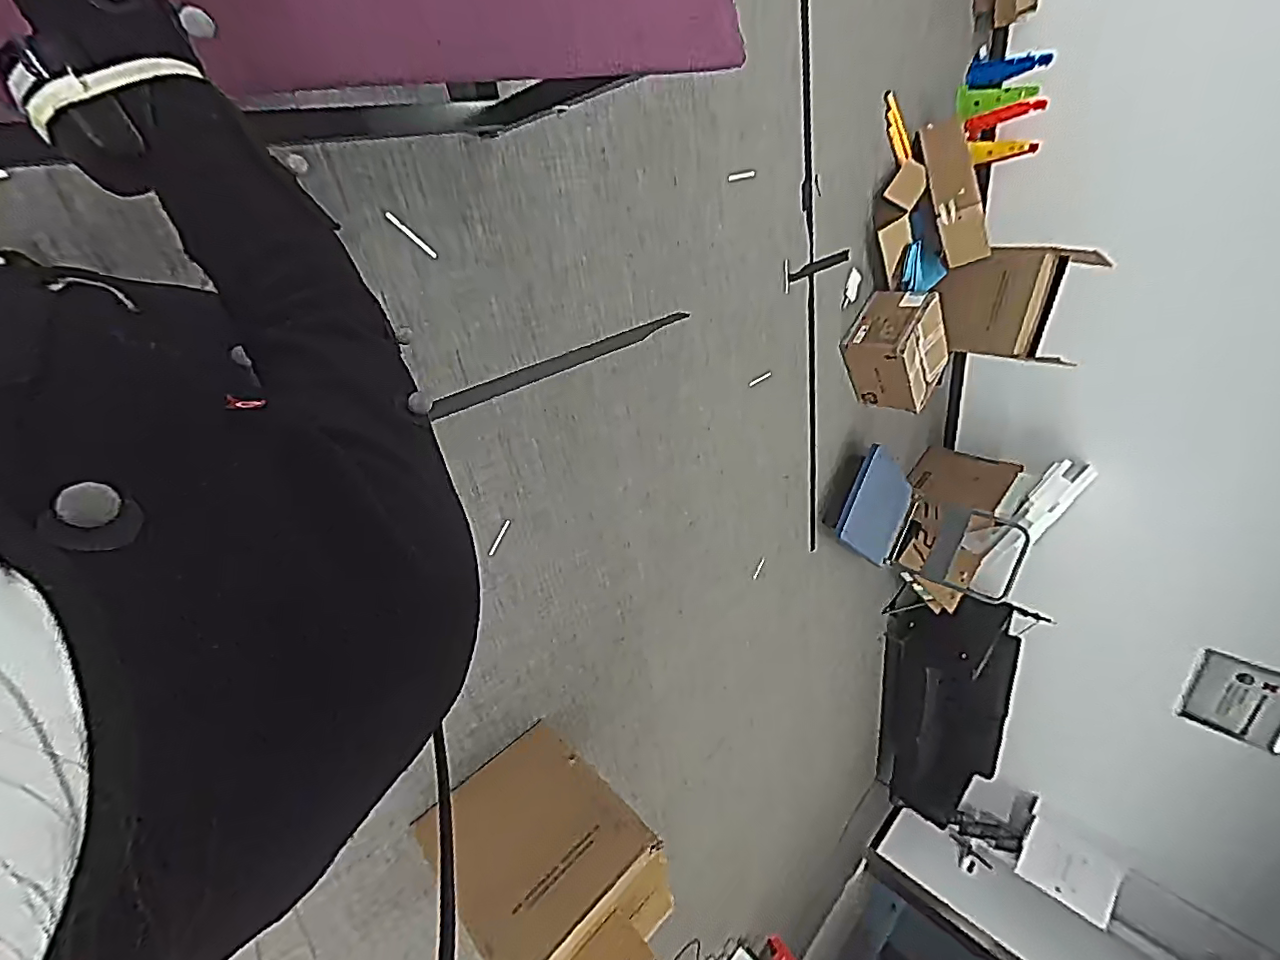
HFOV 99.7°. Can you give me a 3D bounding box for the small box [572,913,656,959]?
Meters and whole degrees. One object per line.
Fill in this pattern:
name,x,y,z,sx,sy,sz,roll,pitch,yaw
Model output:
small box,-0.066,1.325,1.446,0.179,0.176,0.168,-30,124,-33
